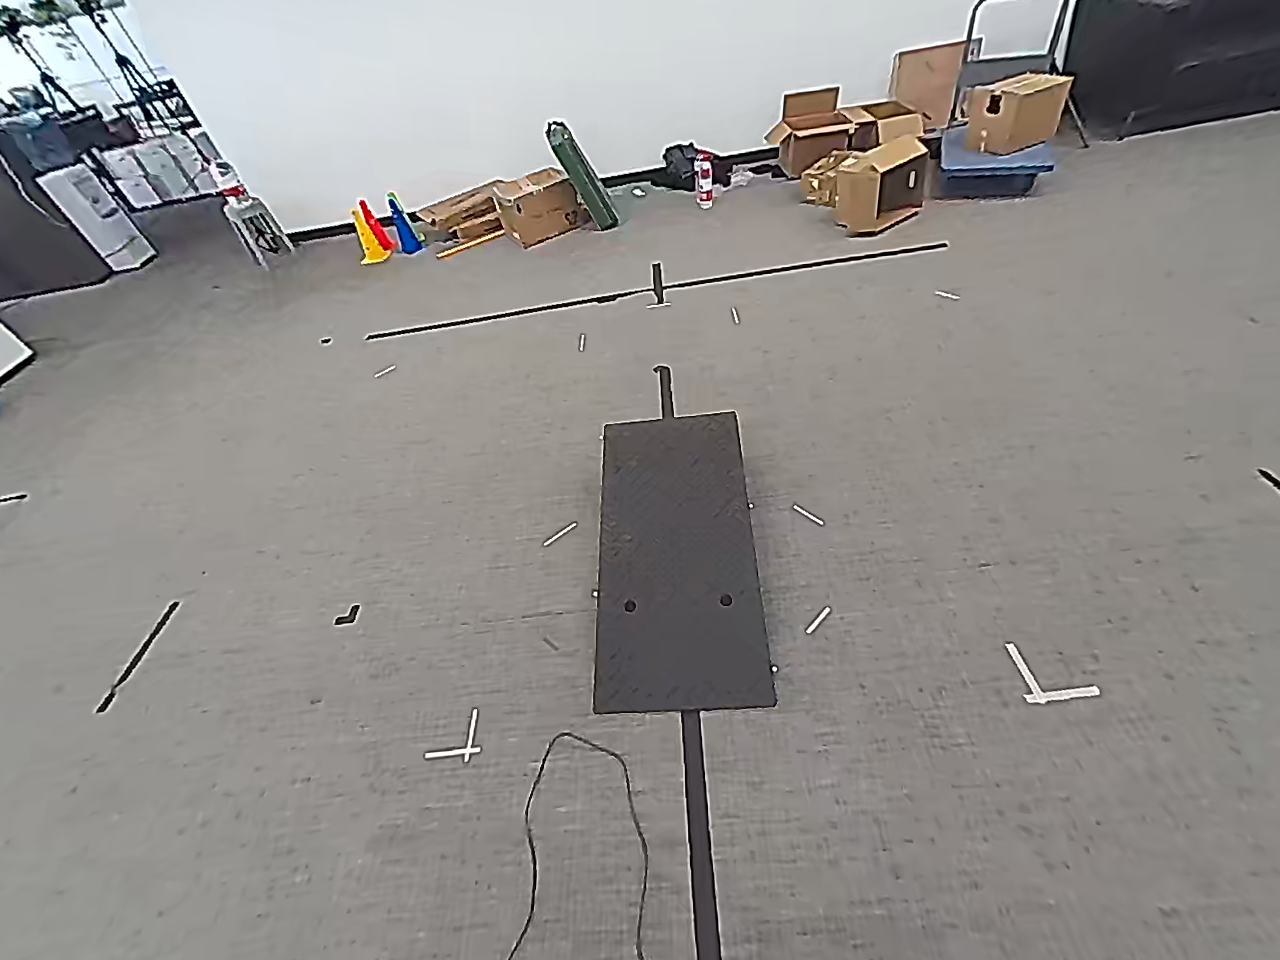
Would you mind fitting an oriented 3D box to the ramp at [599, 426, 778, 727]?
[{"bbox_3d":[0.114,0.238,1.729,0.509,0.206,0.991,-7,44,5],"label":"ramp"}]
